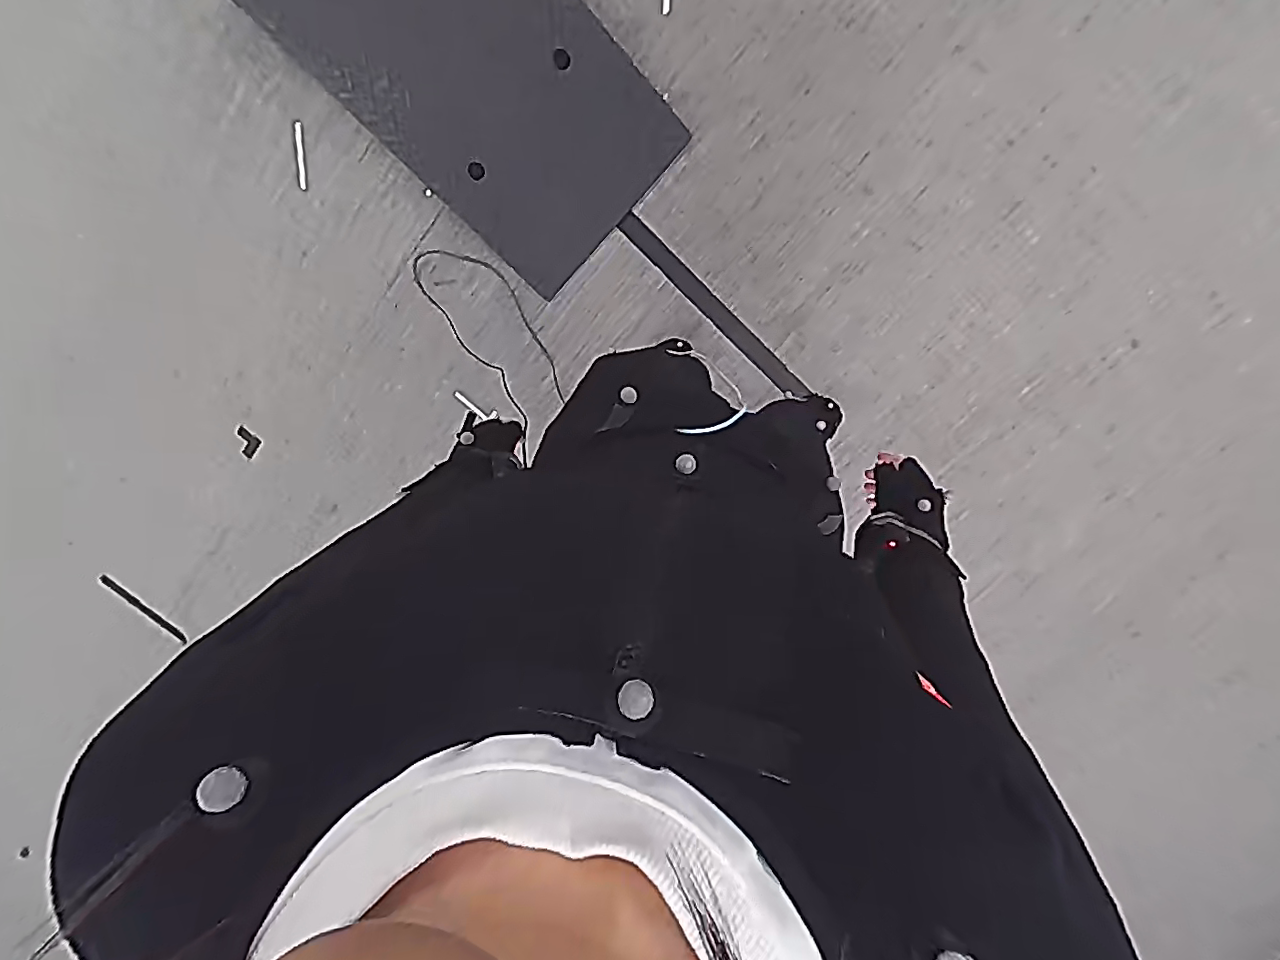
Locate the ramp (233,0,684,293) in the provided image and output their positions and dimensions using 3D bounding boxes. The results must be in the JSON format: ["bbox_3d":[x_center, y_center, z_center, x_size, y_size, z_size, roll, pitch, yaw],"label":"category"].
[{"bbox_3d":[-0.413,-0.916,1.087,0.991,0.206,0.509,42,105,-10],"label":"ramp"}]
